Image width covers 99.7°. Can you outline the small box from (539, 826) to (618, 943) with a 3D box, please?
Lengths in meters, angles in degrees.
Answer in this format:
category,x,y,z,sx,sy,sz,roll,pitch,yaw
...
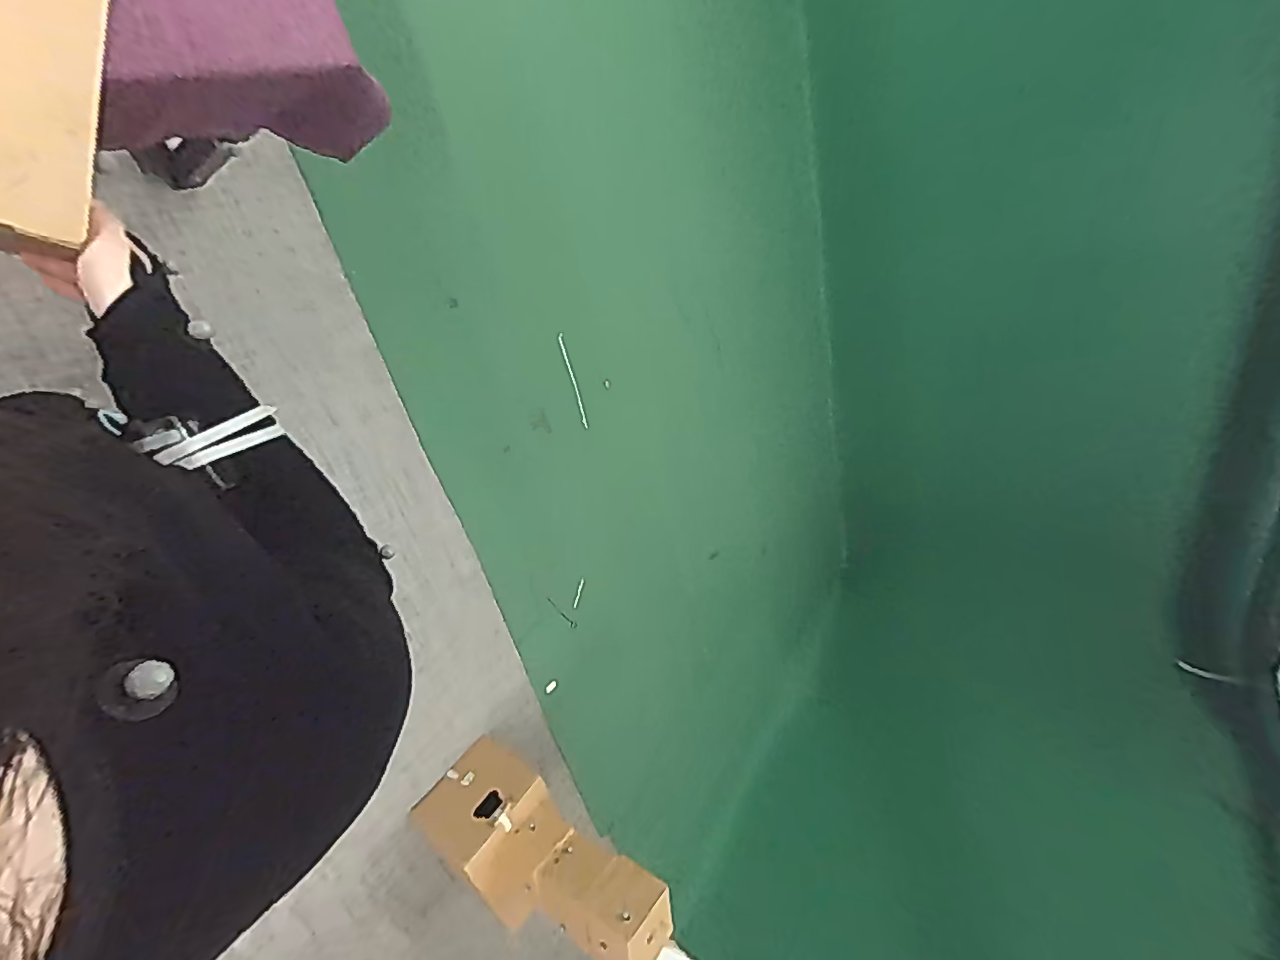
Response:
category,x,y,z,sx,sy,sz,roll,pitch,yaw
small box,-0.167,1.149,1.552,0.168,0.176,0.179,-25,113,-48

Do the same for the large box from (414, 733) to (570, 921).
category,x,y,z,sx,sy,sz,roll,pitch,yaw
large box,-0.477,1.148,1.817,0.320,0.320,0.408,-41,127,-39

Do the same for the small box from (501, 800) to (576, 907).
category,x,y,z,sx,sy,sz,roll,pitch,yaw
small box,-0.298,1.126,1.646,0.168,0.176,0.179,-28,117,-46

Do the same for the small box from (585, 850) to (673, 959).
category,x,y,z,sx,sy,sz,roll,pitch,yaw
small box,-0.034,1.157,1.454,0.179,0.176,0.168,-23,114,-48
